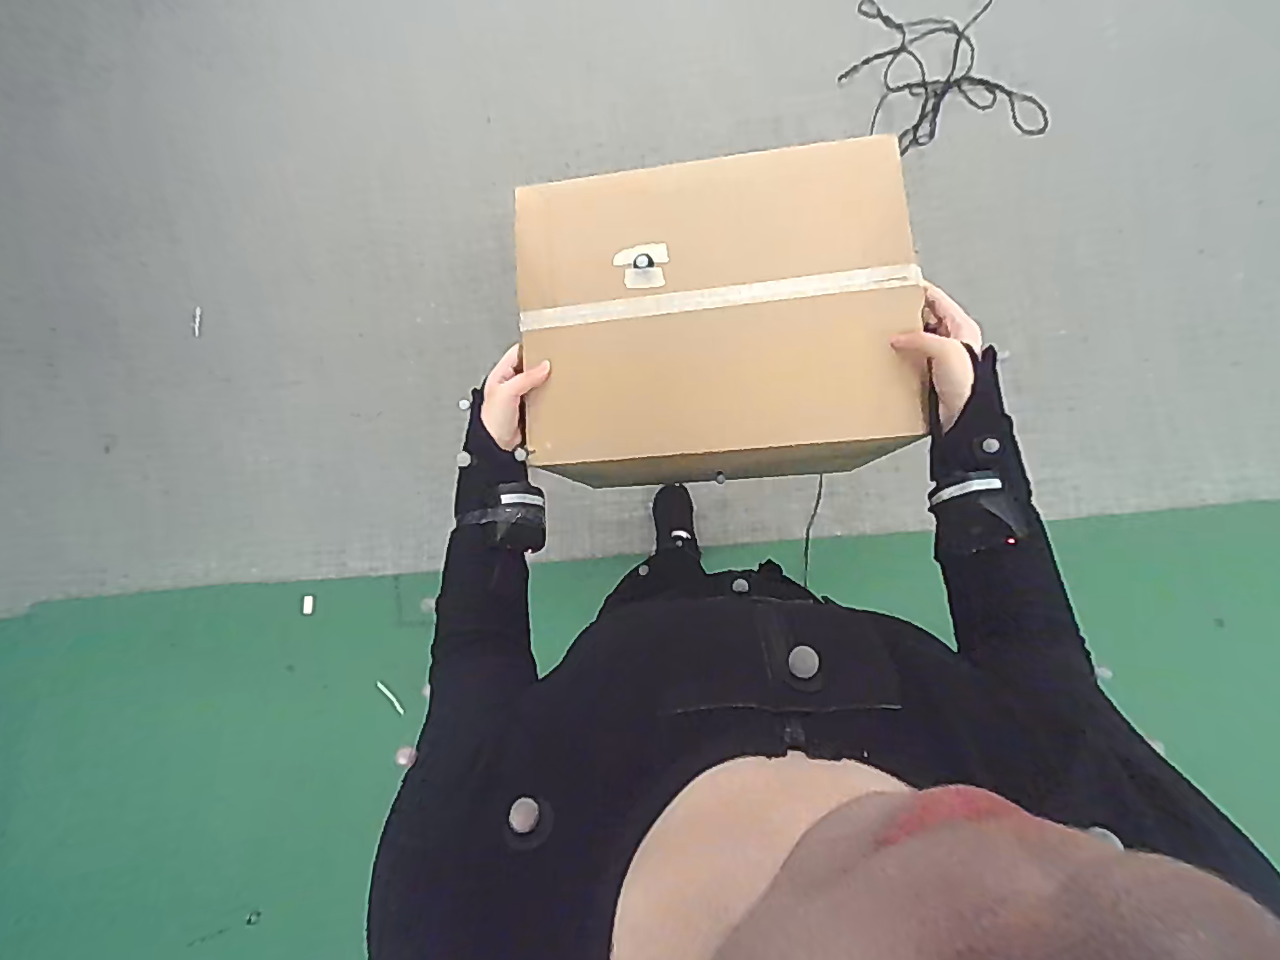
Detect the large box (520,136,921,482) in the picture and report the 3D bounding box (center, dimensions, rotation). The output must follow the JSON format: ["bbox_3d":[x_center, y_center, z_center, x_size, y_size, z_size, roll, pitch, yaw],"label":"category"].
[{"bbox_3d":[0.094,-0.175,0.718,0.408,0.320,0.320,-5,83,9],"label":"large box"}]
